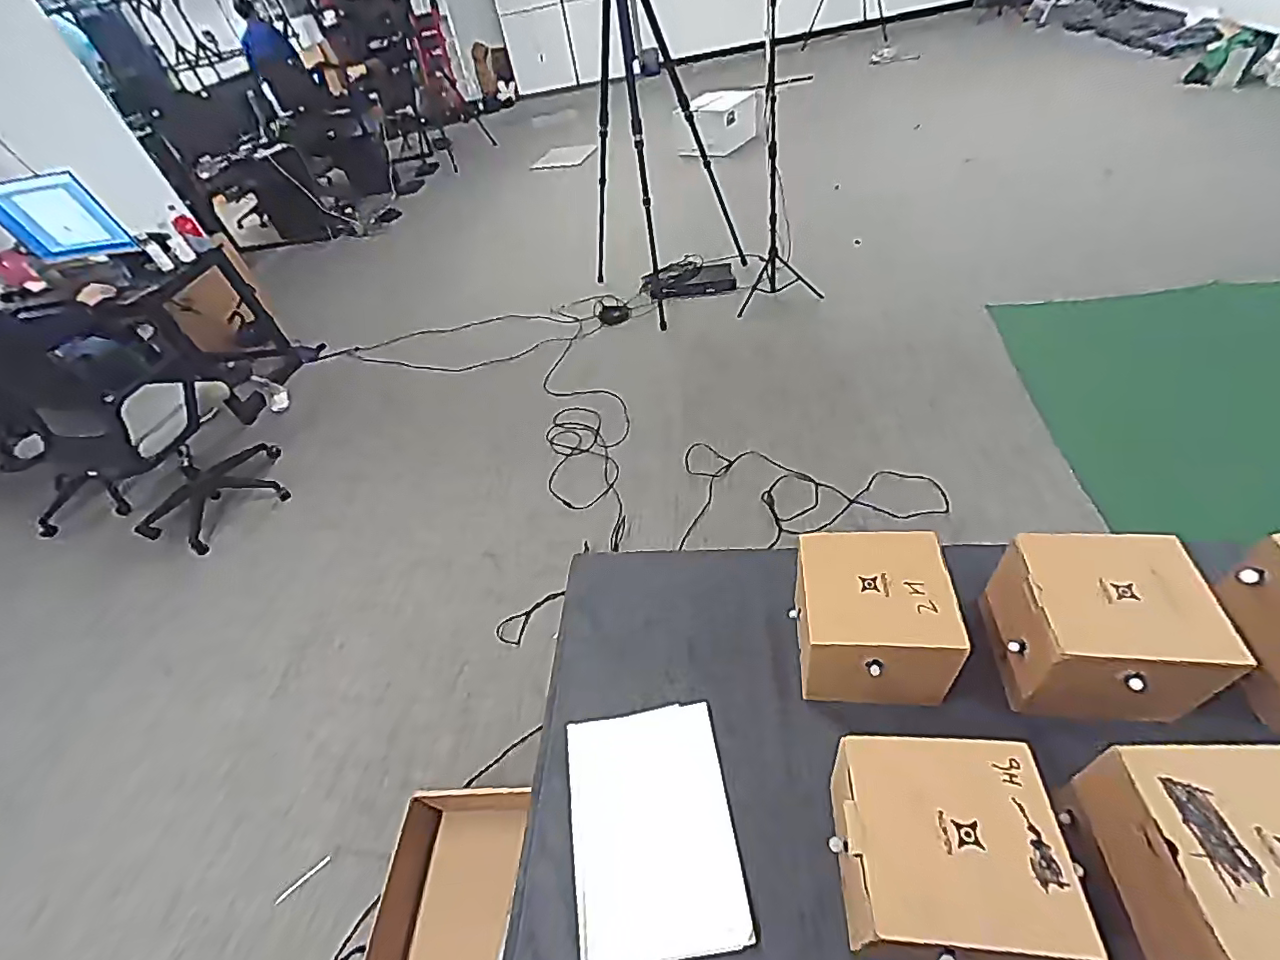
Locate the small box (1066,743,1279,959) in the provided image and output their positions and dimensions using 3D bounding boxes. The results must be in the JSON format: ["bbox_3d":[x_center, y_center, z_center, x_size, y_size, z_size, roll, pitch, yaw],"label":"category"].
[{"bbox_3d":[0.539,0.358,0.497,0.179,0.176,0.168,-4,45,8],"label":"small box"}]
